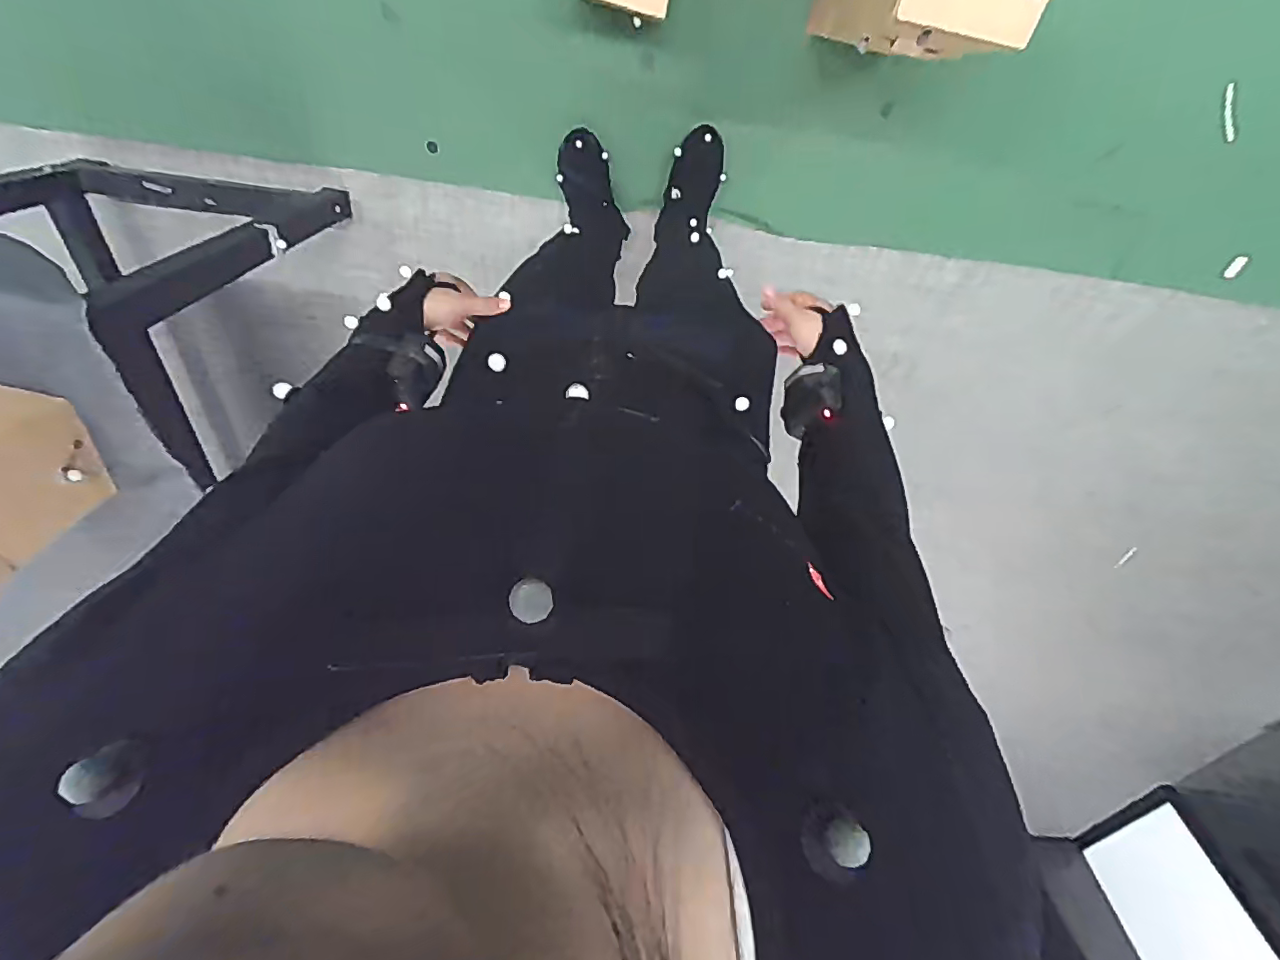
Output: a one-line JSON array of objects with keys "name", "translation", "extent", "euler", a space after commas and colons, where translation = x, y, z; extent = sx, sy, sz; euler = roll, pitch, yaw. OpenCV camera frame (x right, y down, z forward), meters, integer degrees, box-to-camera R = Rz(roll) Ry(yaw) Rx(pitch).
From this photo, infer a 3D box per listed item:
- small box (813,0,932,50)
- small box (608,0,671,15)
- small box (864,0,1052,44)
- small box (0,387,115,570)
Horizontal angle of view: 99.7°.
[{"name": "small box", "translation": [0.421, -0.858, 0.917], "extent": [0.179, 0.176, 0.168], "euler": [10, 129, -6]}, {"name": "small box", "translation": [-0.019, -0.897, 0.891], "extent": [0.179, 0.176, 0.168], "euler": [11, 128, -7]}, {"name": "small box", "translation": [0.405, -0.653, 0.660], "extent": [0.179, 0.176, 0.168], "euler": [9, 128, -5]}, {"name": "small box", "translation": [-0.842, -0.011, 0.681], "extent": [0.179, 0.176, 0.168], "euler": [12, 129, -6]}]
